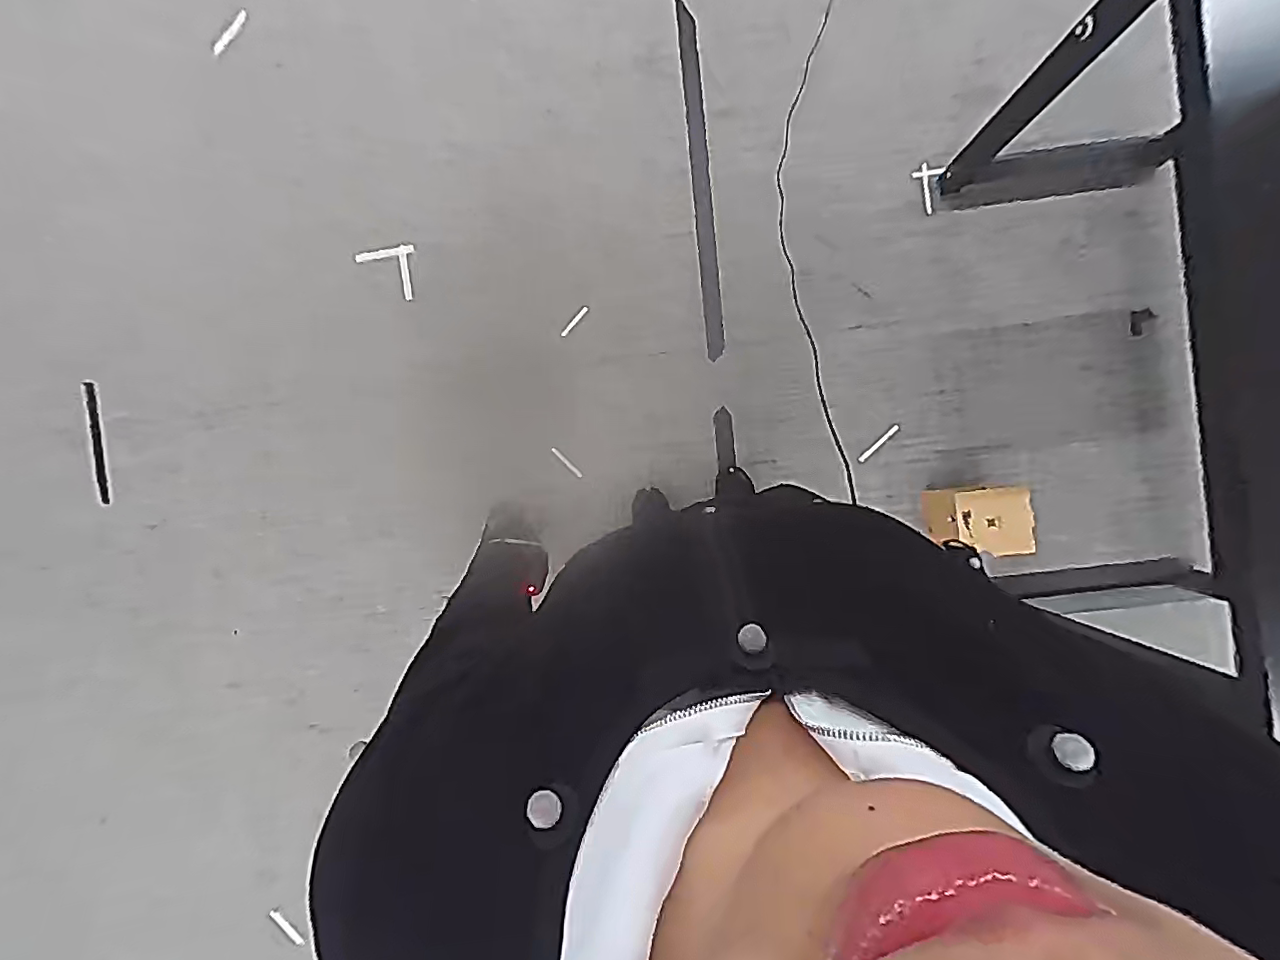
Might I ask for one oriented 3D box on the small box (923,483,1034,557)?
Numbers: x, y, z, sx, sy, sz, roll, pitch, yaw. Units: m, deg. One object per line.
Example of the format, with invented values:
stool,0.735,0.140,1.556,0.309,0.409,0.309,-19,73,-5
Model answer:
small box,0.856,0.097,1.381,0.179,0.176,0.168,-7,89,3
